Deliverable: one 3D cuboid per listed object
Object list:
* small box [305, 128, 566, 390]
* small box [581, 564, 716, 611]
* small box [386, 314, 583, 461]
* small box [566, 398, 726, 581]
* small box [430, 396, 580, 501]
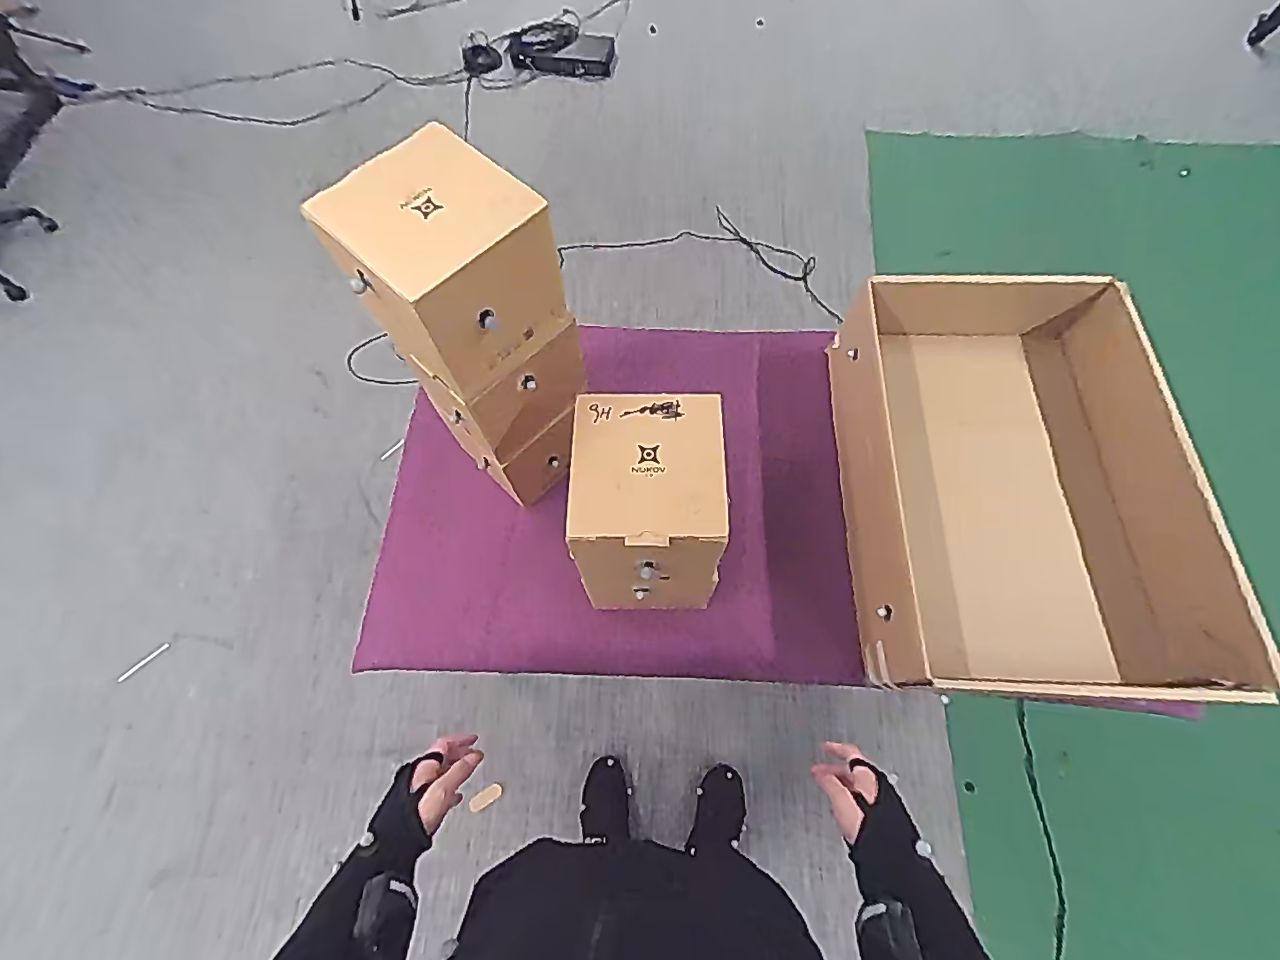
[{"bbox_3d":[-0.200,-0.223,0.585,0.179,0.176,0.168,40,73,16],"label":"small box"},{"bbox_3d":[0.013,0.094,0.794,0.179,0.176,0.168,0,65,0],"label":"small box"},{"bbox_3d":[-0.194,-0.156,0.732,0.168,0.176,0.179,42,73,16],"label":"small box"},{"bbox_3d":[0.010,0.019,0.648,0.168,0.176,0.179,1,65,1],"label":"small box"},{"bbox_3d":[-0.198,-0.086,0.879,0.179,0.176,0.168,42,72,17],"label":"small box"}]
